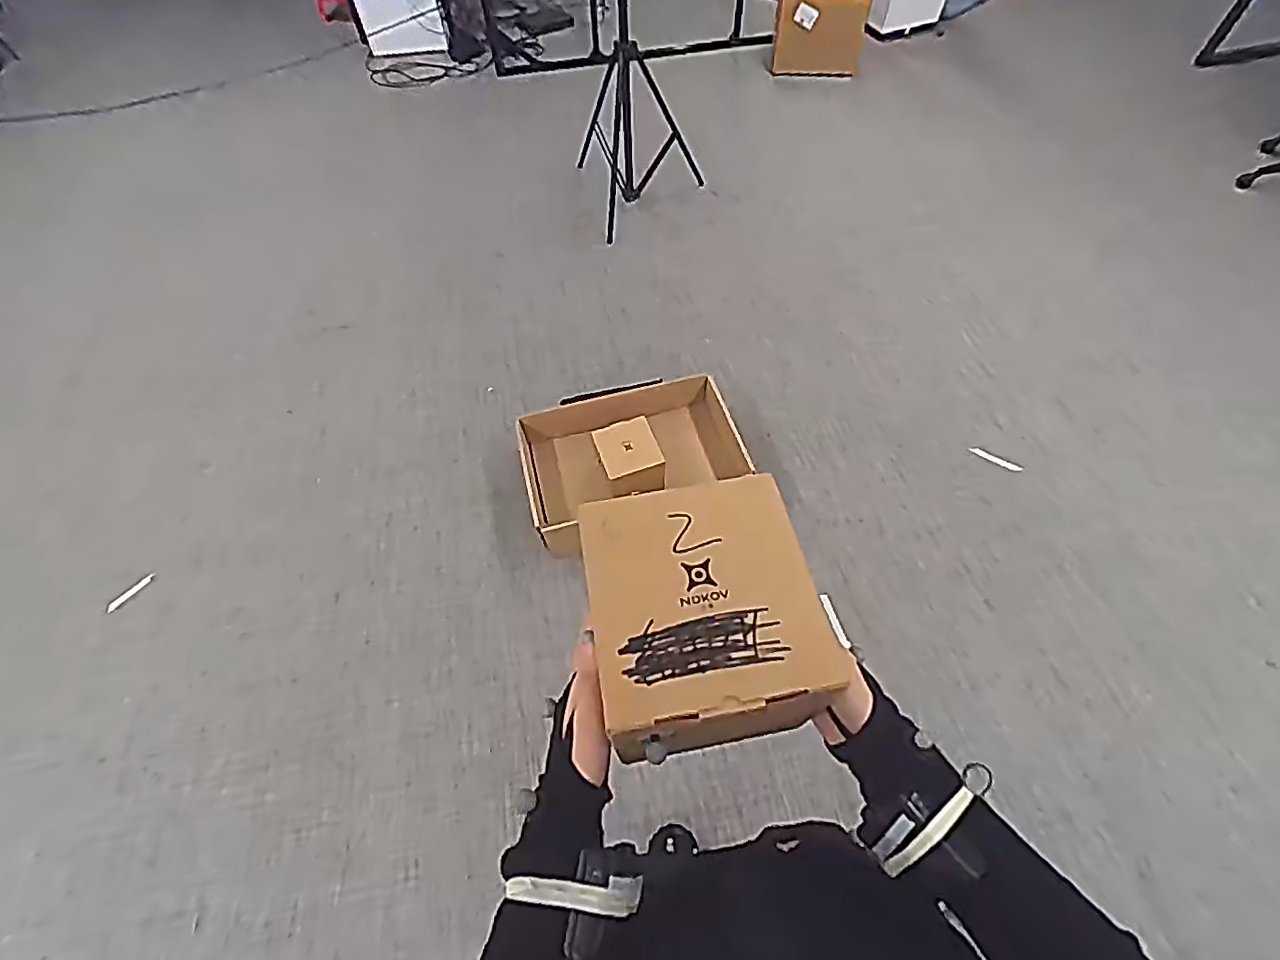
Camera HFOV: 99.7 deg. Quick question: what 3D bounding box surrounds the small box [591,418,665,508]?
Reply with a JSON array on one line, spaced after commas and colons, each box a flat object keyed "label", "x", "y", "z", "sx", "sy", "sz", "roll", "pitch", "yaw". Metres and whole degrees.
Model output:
[{"label": "small box", "x": -0.035, "y": -0.046, "z": 1.586, "sx": 0.168, "sy": 0.176, "sz": 0.179, "roll": -19, "pitch": 61, "yaw": -9}]
